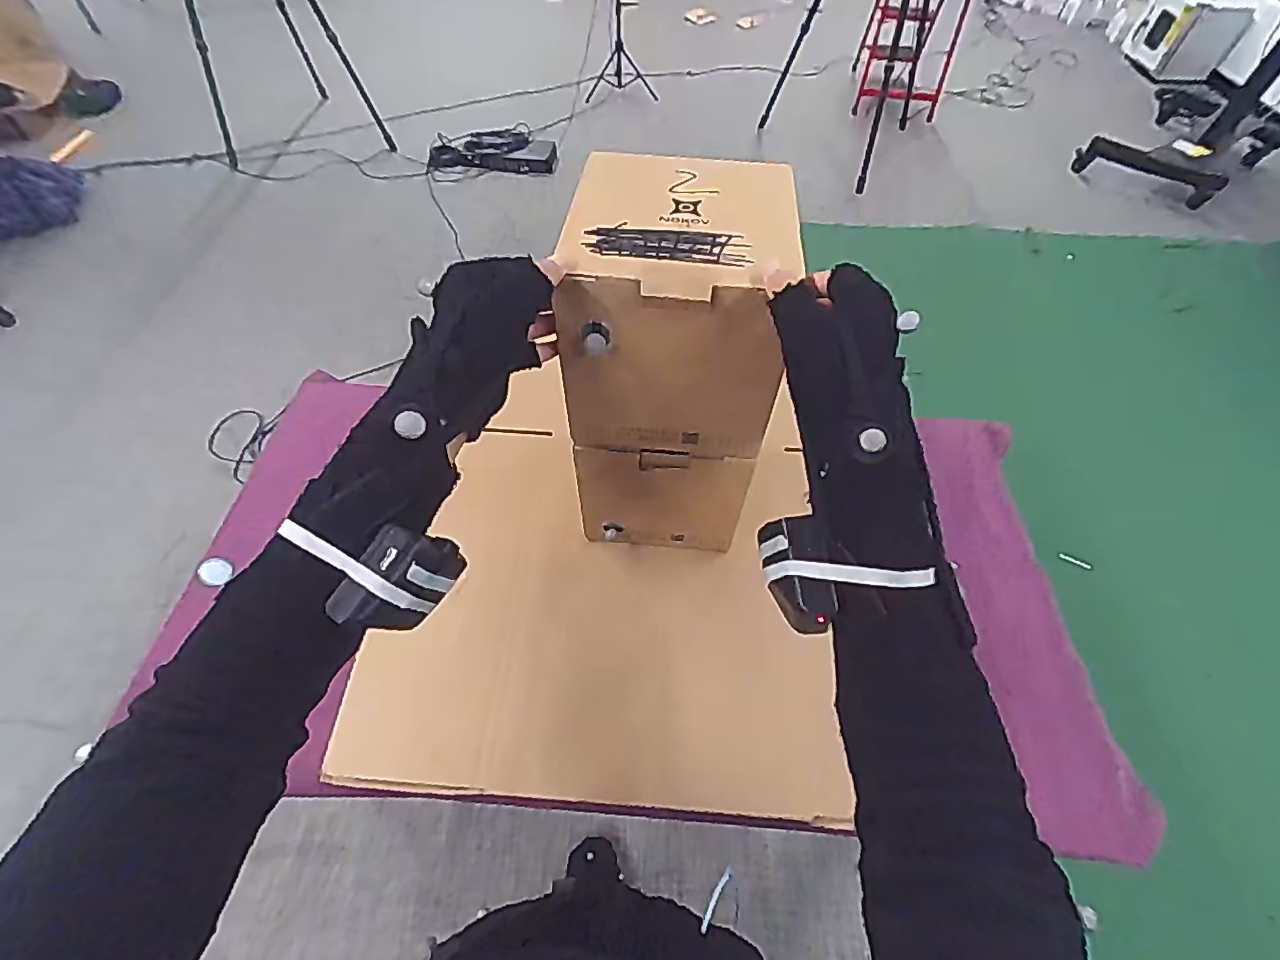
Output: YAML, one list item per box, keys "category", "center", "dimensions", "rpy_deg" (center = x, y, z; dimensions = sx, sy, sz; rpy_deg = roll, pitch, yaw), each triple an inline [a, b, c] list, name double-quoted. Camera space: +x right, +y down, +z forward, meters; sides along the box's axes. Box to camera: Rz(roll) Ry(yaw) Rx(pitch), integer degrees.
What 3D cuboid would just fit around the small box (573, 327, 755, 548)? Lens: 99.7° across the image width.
- category: "small box"
  center: [0.029, -0.041, 0.590]
  dimensions: [0.168, 0.176, 0.179]
  rpy_deg: [4, 54, 2]
